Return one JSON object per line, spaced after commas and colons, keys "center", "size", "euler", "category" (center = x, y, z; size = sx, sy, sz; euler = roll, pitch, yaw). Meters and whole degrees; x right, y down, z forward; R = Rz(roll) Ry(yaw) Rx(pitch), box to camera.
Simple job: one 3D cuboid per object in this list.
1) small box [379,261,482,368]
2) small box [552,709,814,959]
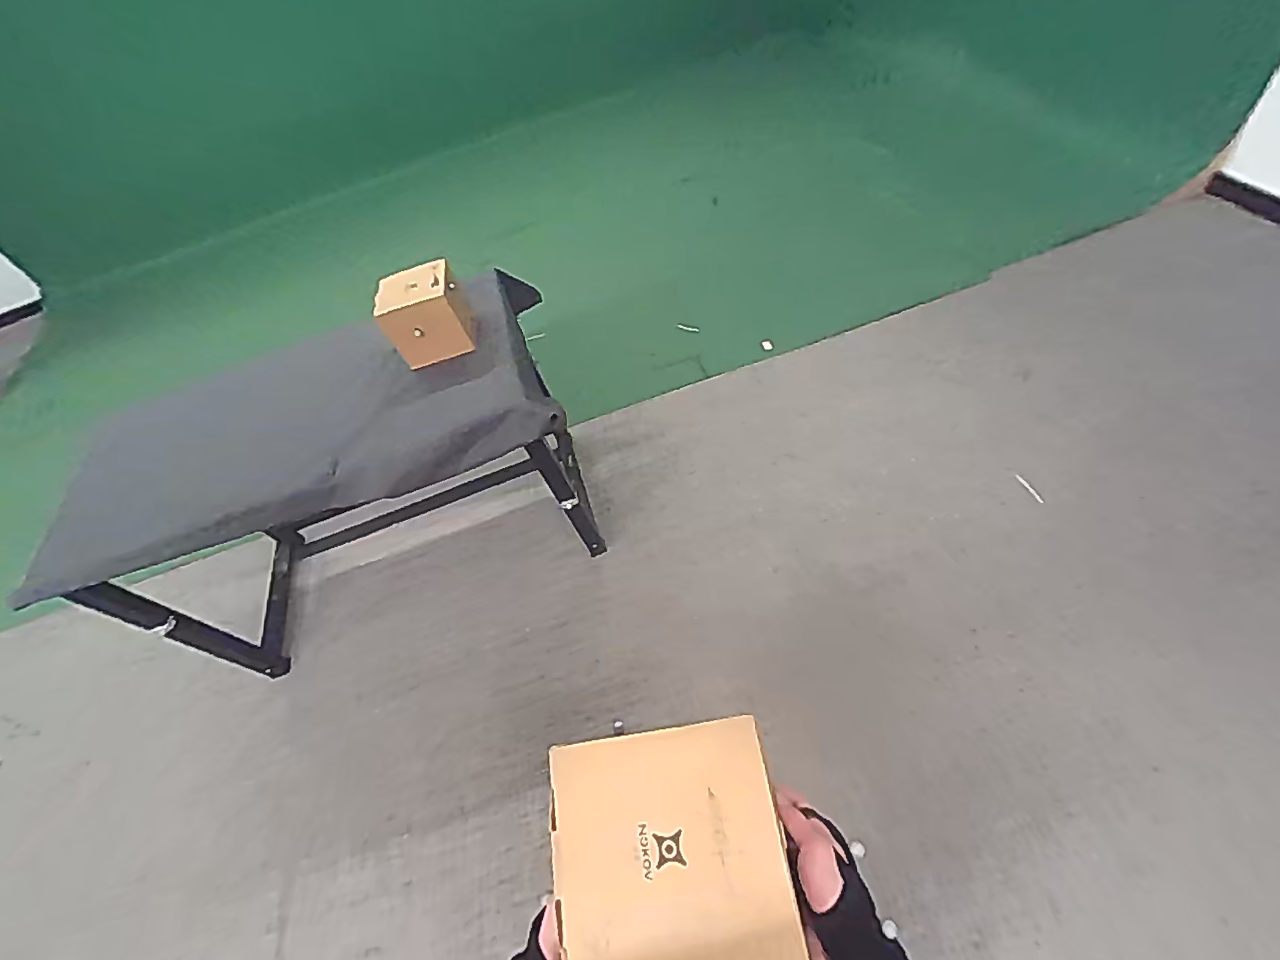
{"center": [-0.517, -0.407, 1.355], "size": [0.179, 0.176, 0.168], "euler": [-17, 53, 4], "category": "small box"}
{"center": [0.039, 0.309, 0.476], "size": [0.179, 0.176, 0.168], "euler": [-14, 63, 6], "category": "small box"}
